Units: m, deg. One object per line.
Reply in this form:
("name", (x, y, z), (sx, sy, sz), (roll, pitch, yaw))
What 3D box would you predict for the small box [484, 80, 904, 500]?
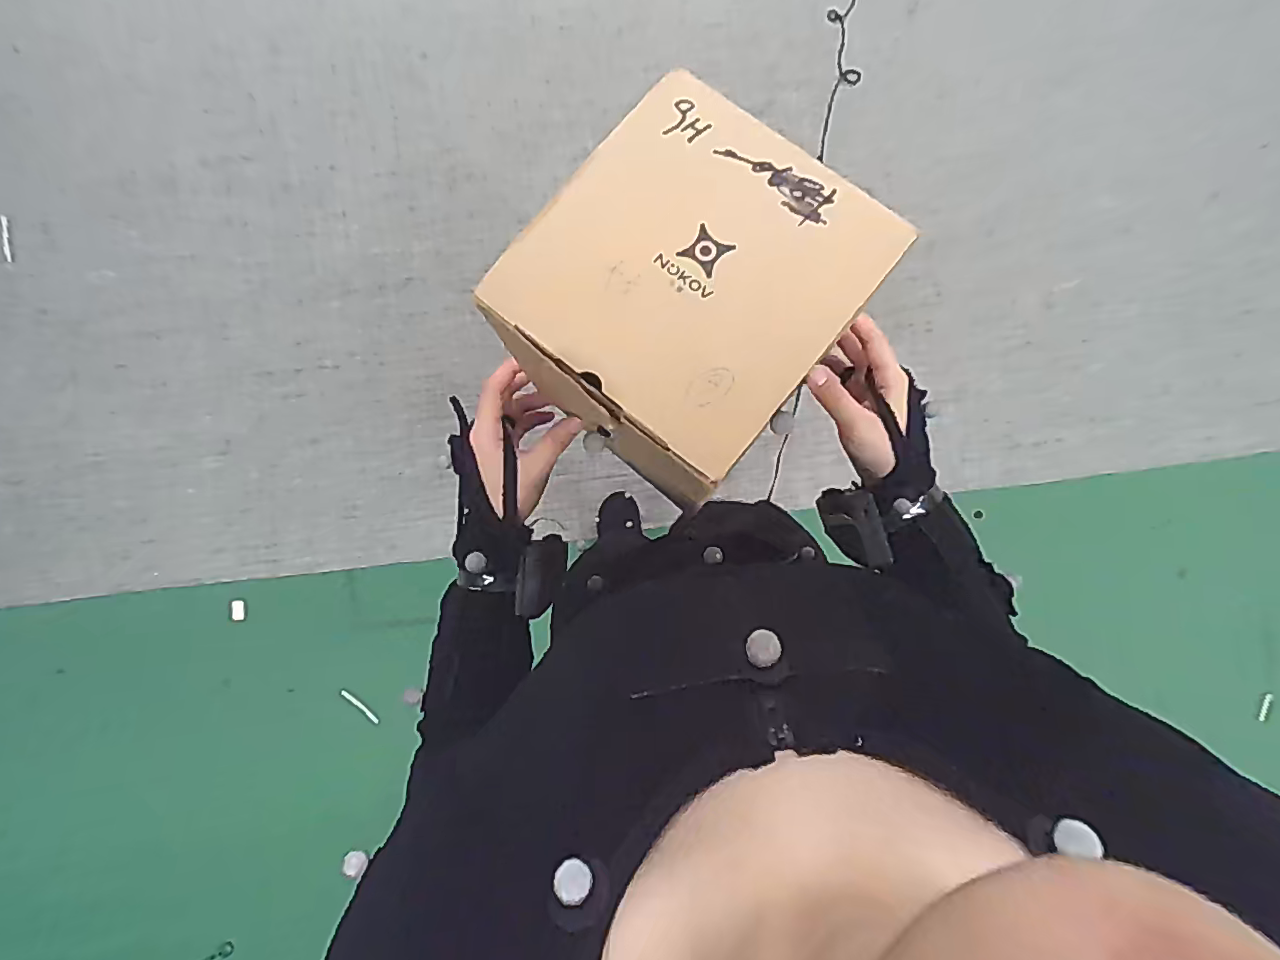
("small box", (0.033, -0.104, 0.373), (0.168, 0.176, 0.179), (39, 85, 7))
